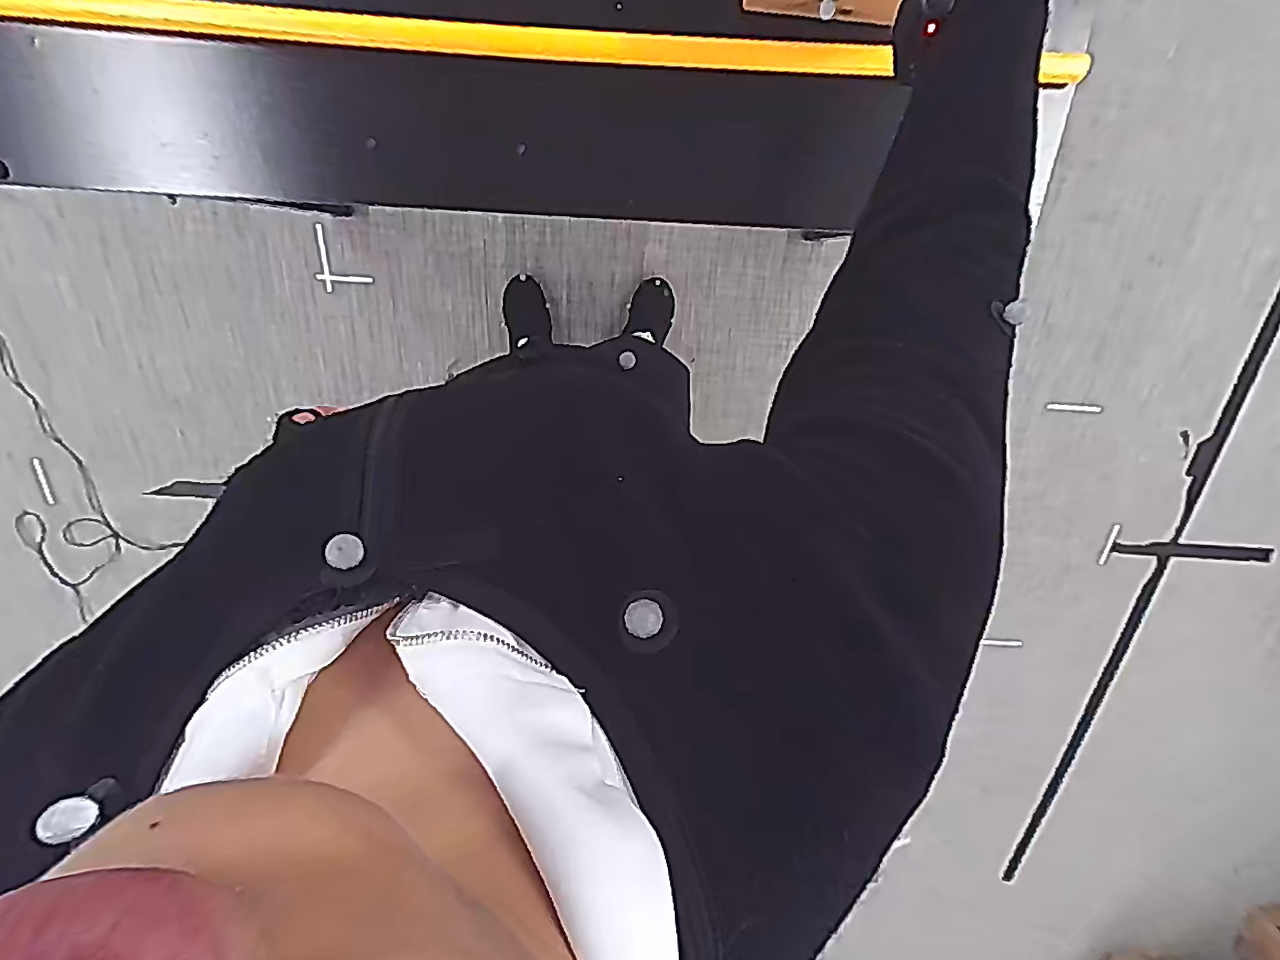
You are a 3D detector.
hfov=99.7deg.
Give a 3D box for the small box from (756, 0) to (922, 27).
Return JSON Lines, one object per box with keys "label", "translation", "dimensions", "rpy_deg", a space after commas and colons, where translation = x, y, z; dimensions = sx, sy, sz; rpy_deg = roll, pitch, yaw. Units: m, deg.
{"label": "small box", "translation": [0.200, -0.536, 0.462], "dimensions": [0.168, 0.176, 0.179], "rpy_deg": [5, 113, -3]}
